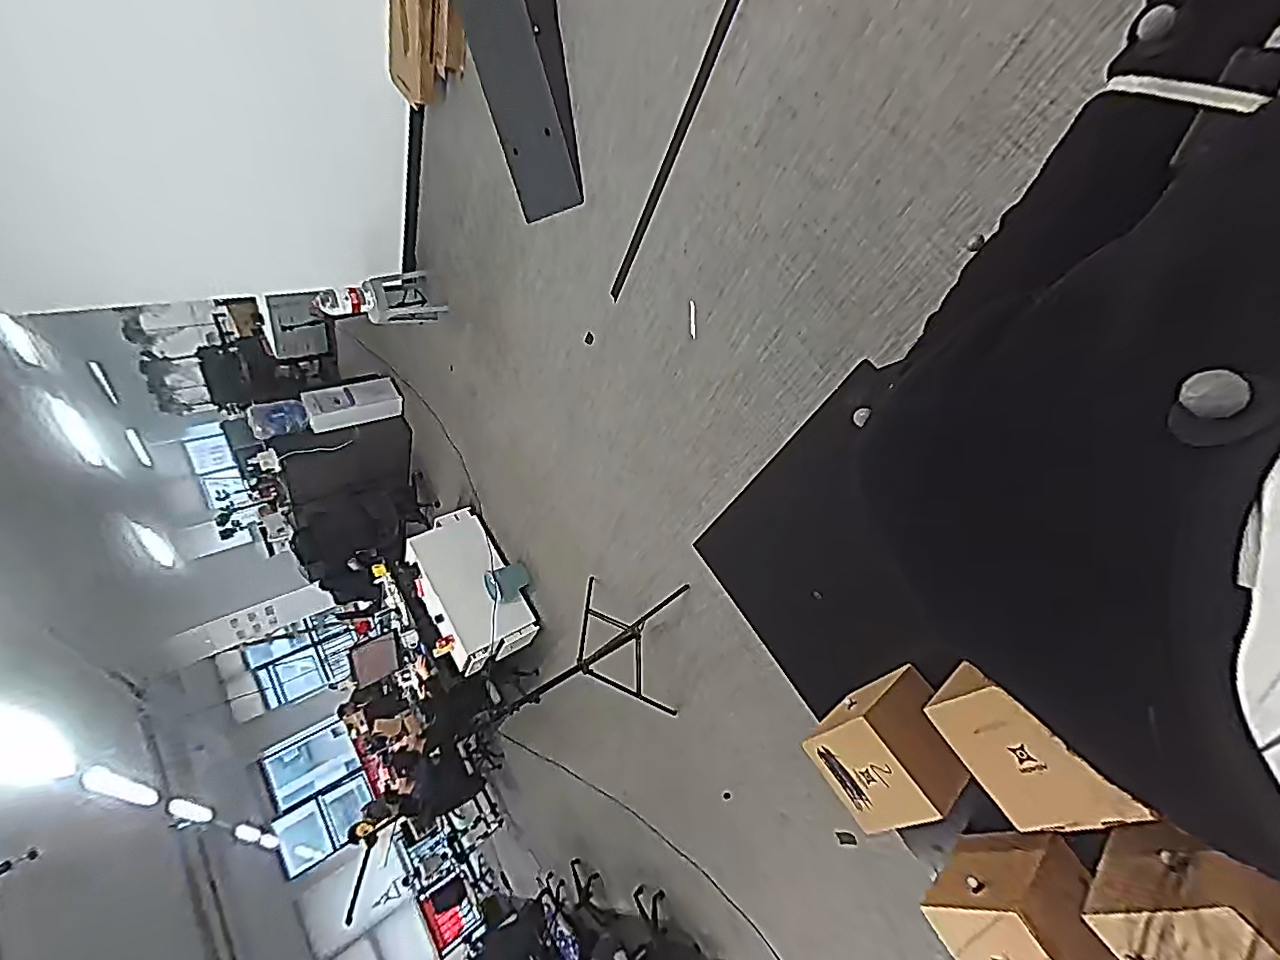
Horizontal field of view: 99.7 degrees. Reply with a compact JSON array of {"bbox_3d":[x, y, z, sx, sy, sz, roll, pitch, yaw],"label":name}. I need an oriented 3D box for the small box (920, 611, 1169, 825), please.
[{"bbox_3d":[0.518,0.302,0.698,0.179,0.176,0.168,55,142,20],"label":"small box"}]

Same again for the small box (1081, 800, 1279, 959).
[{"bbox_3d":[0.661,0.497,0.608,0.168,0.176,0.179,51,141,23],"label":"small box"}]

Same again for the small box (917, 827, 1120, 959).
[{"bbox_3d":[0.570,0.654,0.809,0.168,0.176,0.179,56,142,18],"label":"small box"}]
